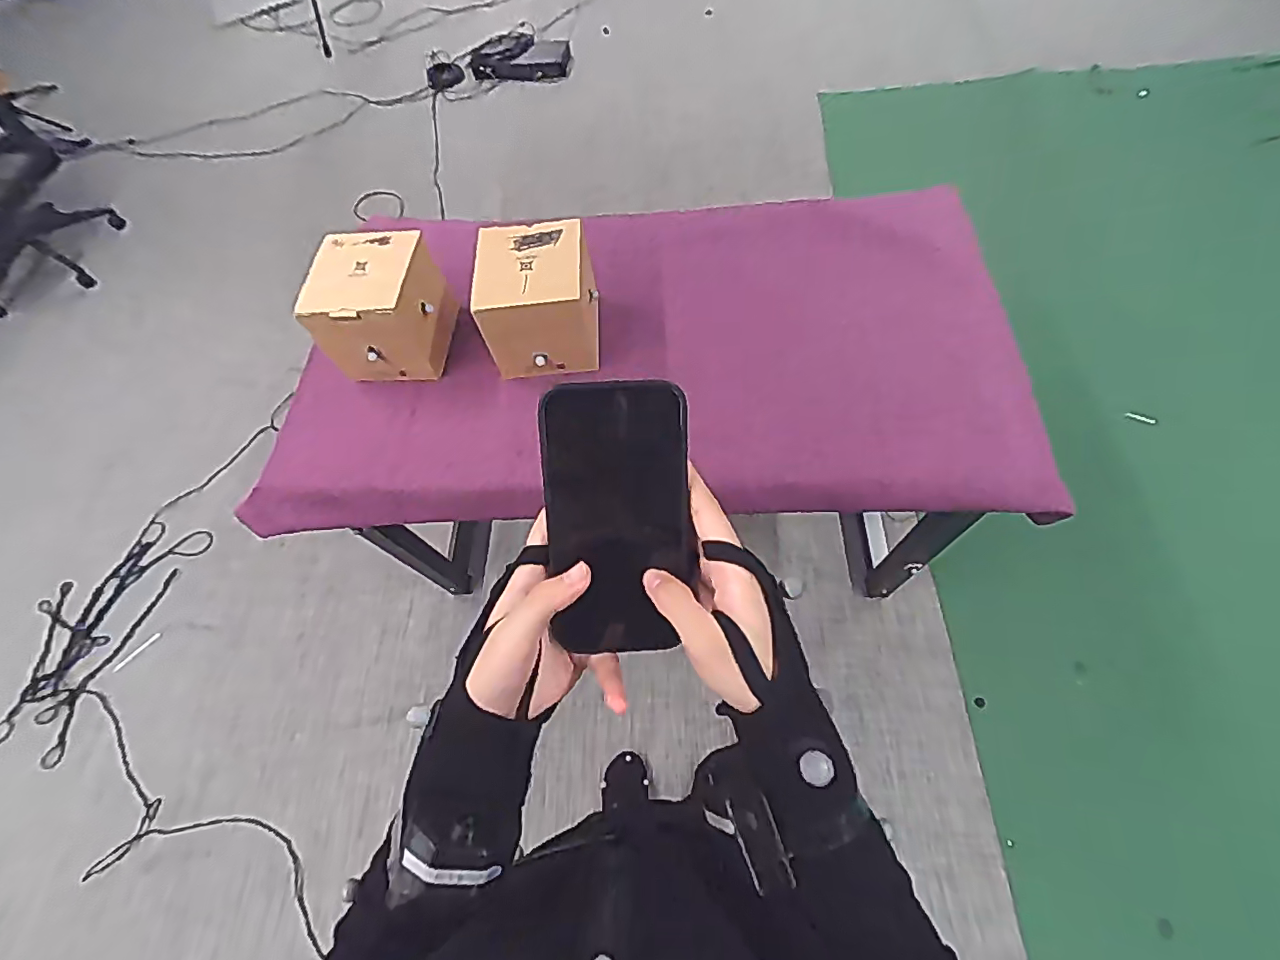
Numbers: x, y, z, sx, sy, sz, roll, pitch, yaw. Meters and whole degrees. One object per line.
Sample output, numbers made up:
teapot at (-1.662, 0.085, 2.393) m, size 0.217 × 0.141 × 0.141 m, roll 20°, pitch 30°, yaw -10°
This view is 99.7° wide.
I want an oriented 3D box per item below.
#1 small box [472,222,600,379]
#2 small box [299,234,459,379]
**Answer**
small box at (-0.160, -0.290, 0.892) m, size 0.168 × 0.176 × 0.179 m, roll -5°, pitch 63°, yaw 4°
small box at (-0.427, -0.286, 0.920) m, size 0.168 × 0.176 × 0.179 m, roll 0°, pitch 64°, yaw 6°
